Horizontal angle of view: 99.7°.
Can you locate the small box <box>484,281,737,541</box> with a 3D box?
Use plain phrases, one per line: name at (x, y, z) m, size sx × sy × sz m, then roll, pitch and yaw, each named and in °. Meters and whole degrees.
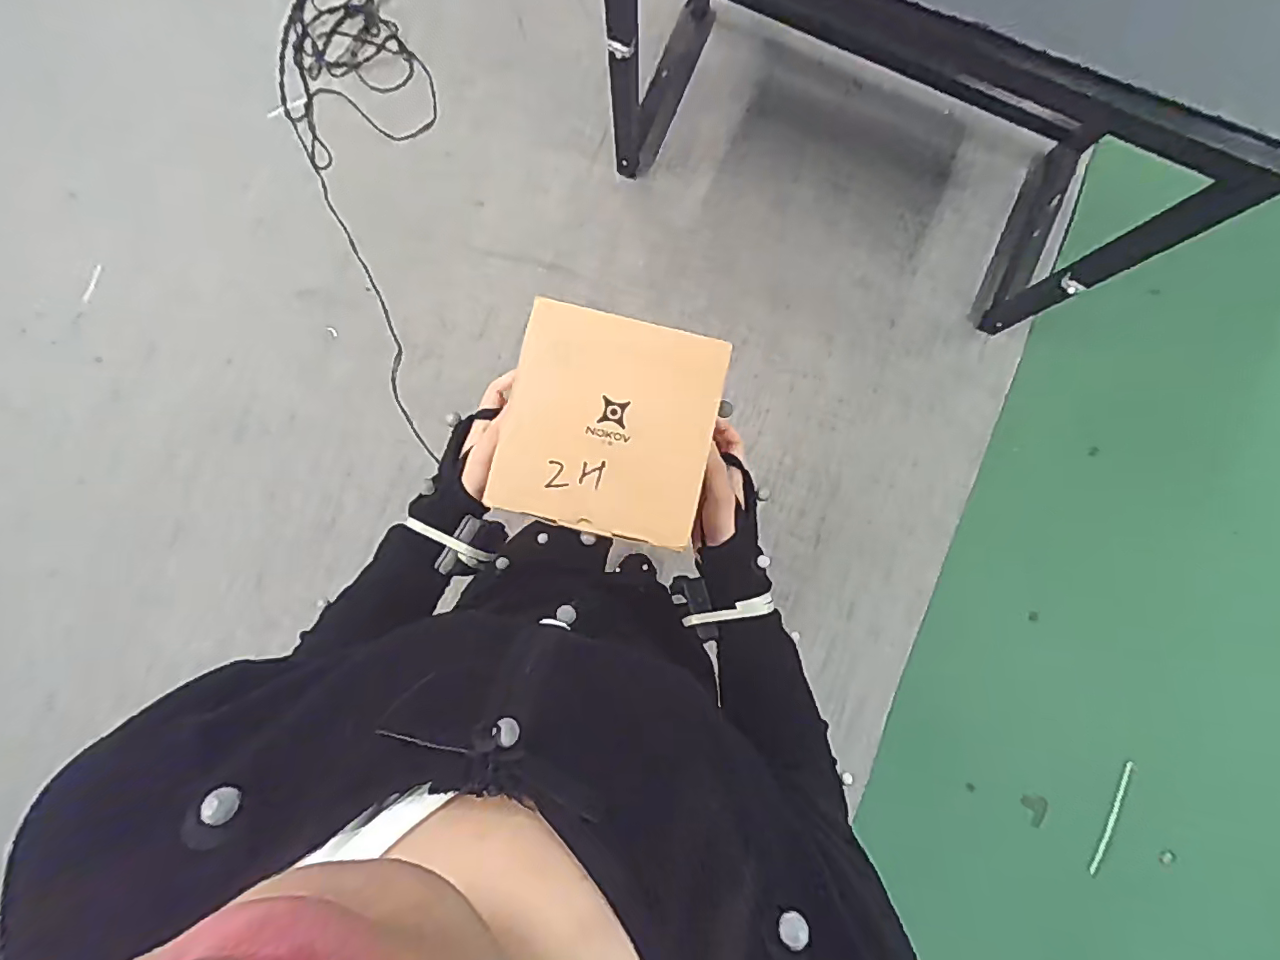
small box at (-0.024, -0.047, 0.494) m, size 0.168 × 0.176 × 0.179 m, roll 13°, pitch 84°, yaw -1°
